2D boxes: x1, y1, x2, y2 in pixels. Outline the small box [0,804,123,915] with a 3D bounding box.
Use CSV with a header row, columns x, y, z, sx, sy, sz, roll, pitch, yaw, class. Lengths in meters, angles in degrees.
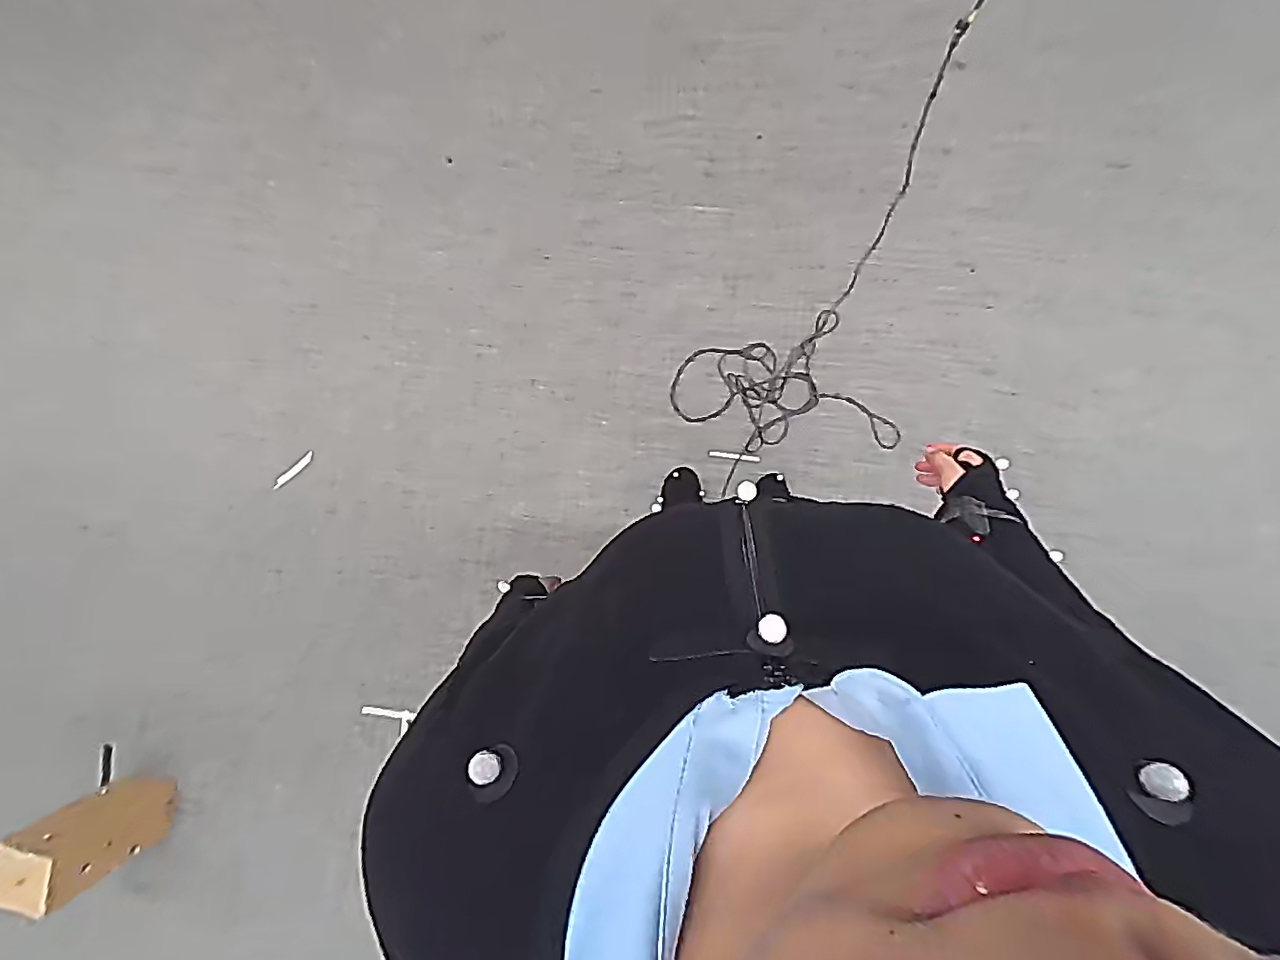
x,y,z,sx,sy,sz,roll,pitch,yaw,class
-1.583,1.027,1.481,0.179,0.176,0.168,11,92,7,small box
